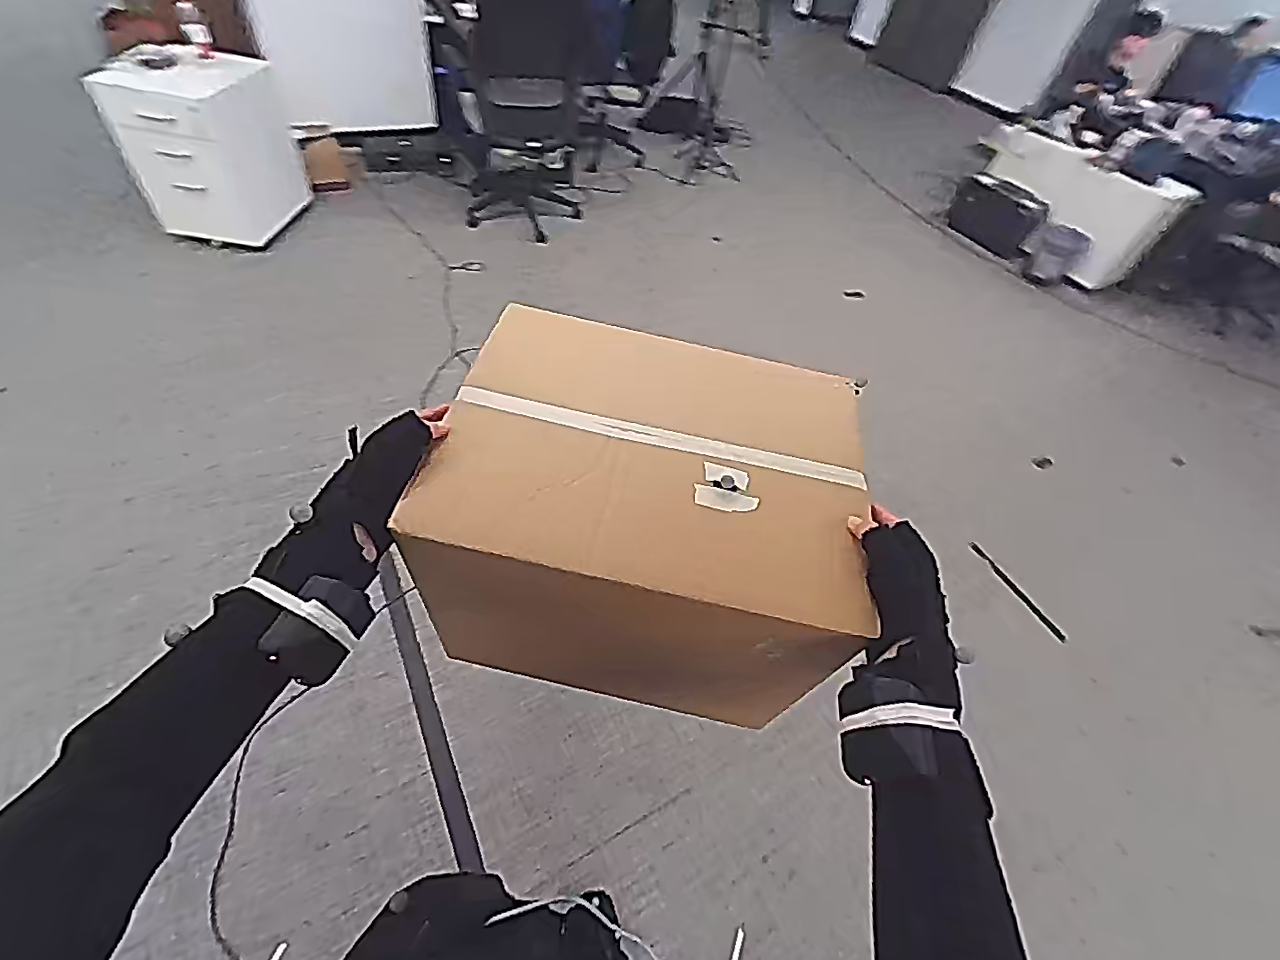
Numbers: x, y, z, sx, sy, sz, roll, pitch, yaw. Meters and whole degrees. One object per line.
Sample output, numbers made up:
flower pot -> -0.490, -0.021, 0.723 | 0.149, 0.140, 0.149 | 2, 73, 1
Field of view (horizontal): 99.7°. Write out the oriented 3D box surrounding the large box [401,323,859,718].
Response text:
large box -> -0.008, 0.061, 0.659 | 0.408, 0.320, 0.320 | 12, 53, -1
